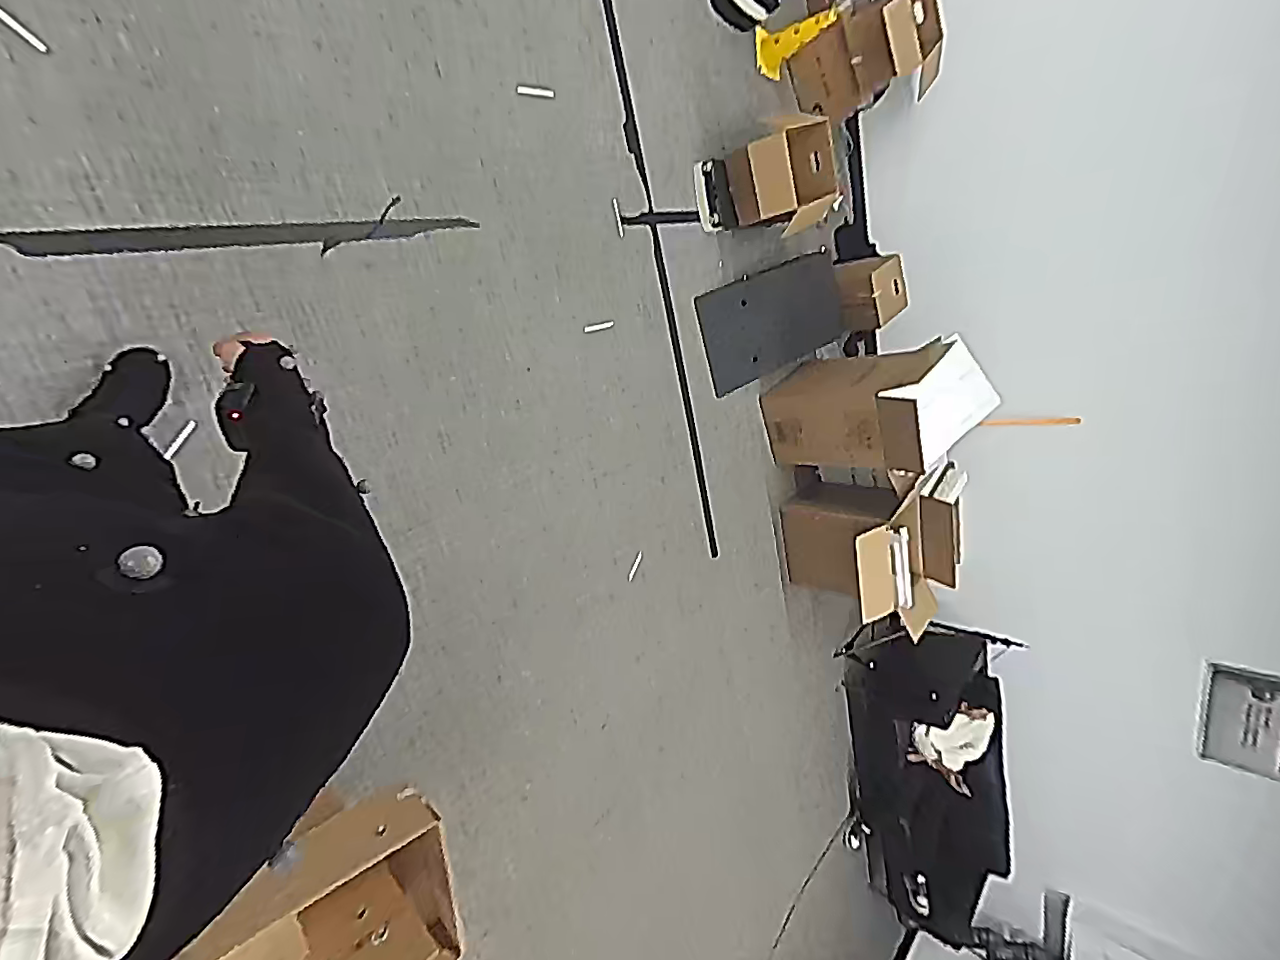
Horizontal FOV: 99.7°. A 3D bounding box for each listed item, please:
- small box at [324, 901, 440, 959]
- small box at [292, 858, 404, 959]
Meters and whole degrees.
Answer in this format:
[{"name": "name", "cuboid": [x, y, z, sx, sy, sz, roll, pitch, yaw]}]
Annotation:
[{"name": "small box", "cuboid": [-0.488, 0.982, 1.047, 0.168, 0.176, 0.179, -23, 111, -42]}, {"name": "small box", "cuboid": [-0.610, 0.970, 1.156, 0.179, 0.176, 0.168, -20, 108, -41]}]
